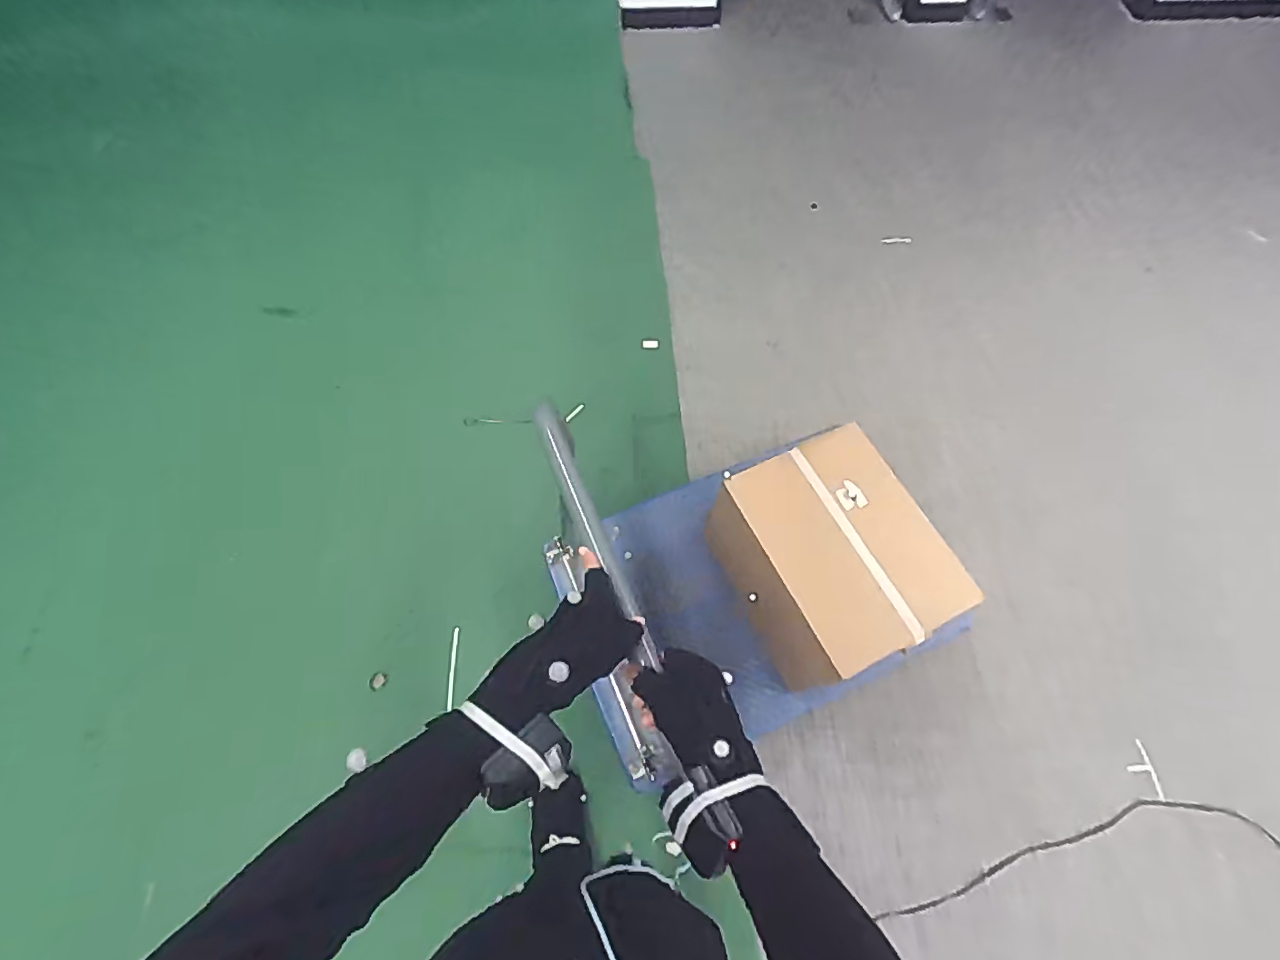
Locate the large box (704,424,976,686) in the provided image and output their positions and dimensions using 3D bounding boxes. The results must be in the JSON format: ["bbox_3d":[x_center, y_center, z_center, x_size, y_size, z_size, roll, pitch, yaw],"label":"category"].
[{"bbox_3d":[0.377,0.166,1.140,0.320,0.320,0.408,-23,67,-13],"label":"large box"}]
